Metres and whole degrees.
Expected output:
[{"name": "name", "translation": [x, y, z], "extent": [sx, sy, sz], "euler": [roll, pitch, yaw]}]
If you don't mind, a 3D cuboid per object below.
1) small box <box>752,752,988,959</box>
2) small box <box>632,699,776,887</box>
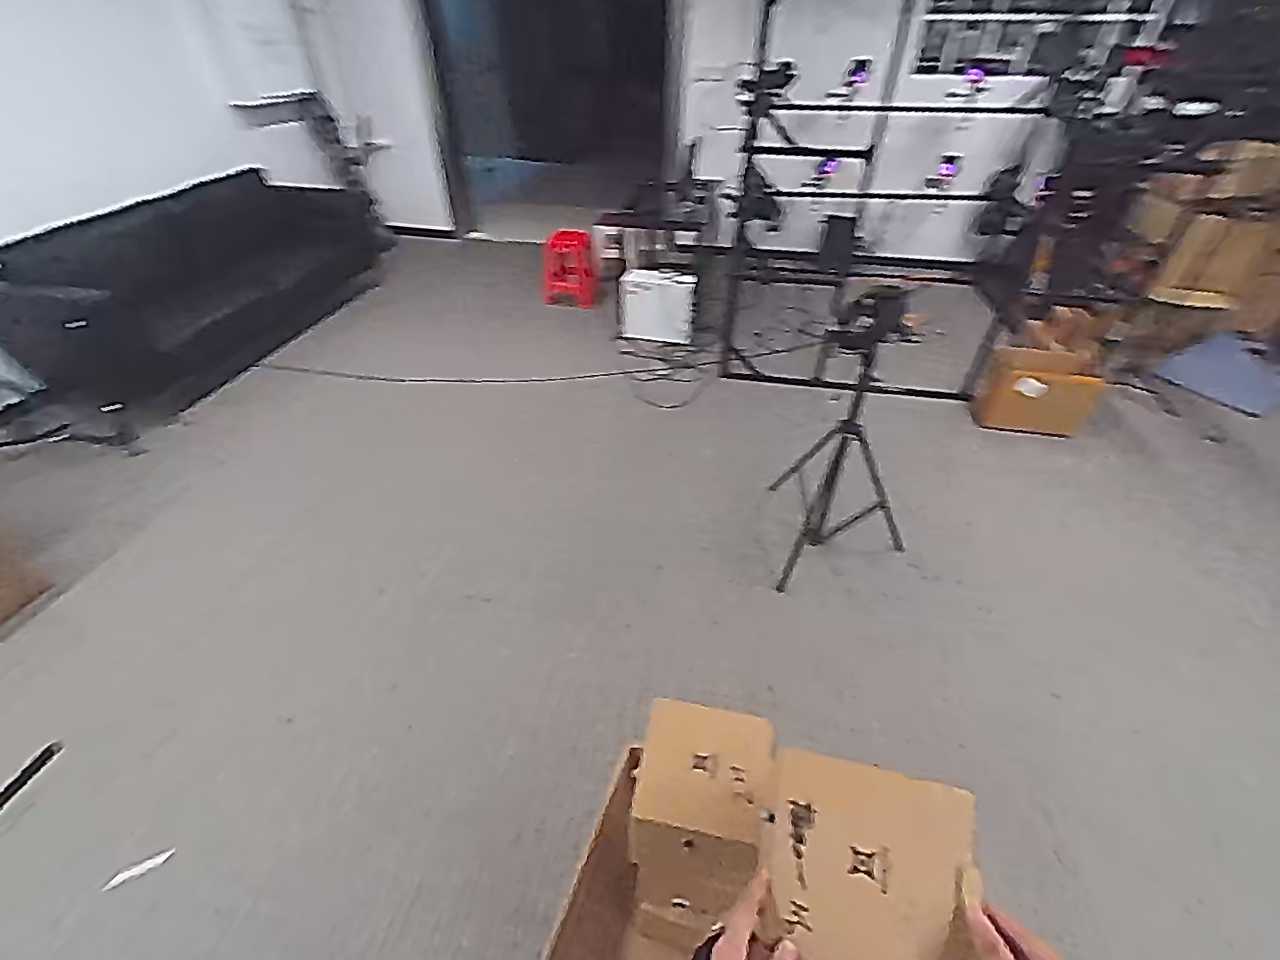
[{"name": "small box", "translation": [0.217, 0.392, 0.545], "extent": [0.179, 0.176, 0.168], "euler": [9, 59, 13]}, {"name": "small box", "translation": [0.091, 0.446, 0.771], "extent": [0.179, 0.176, 0.168], "euler": [8, 40, 9]}]
